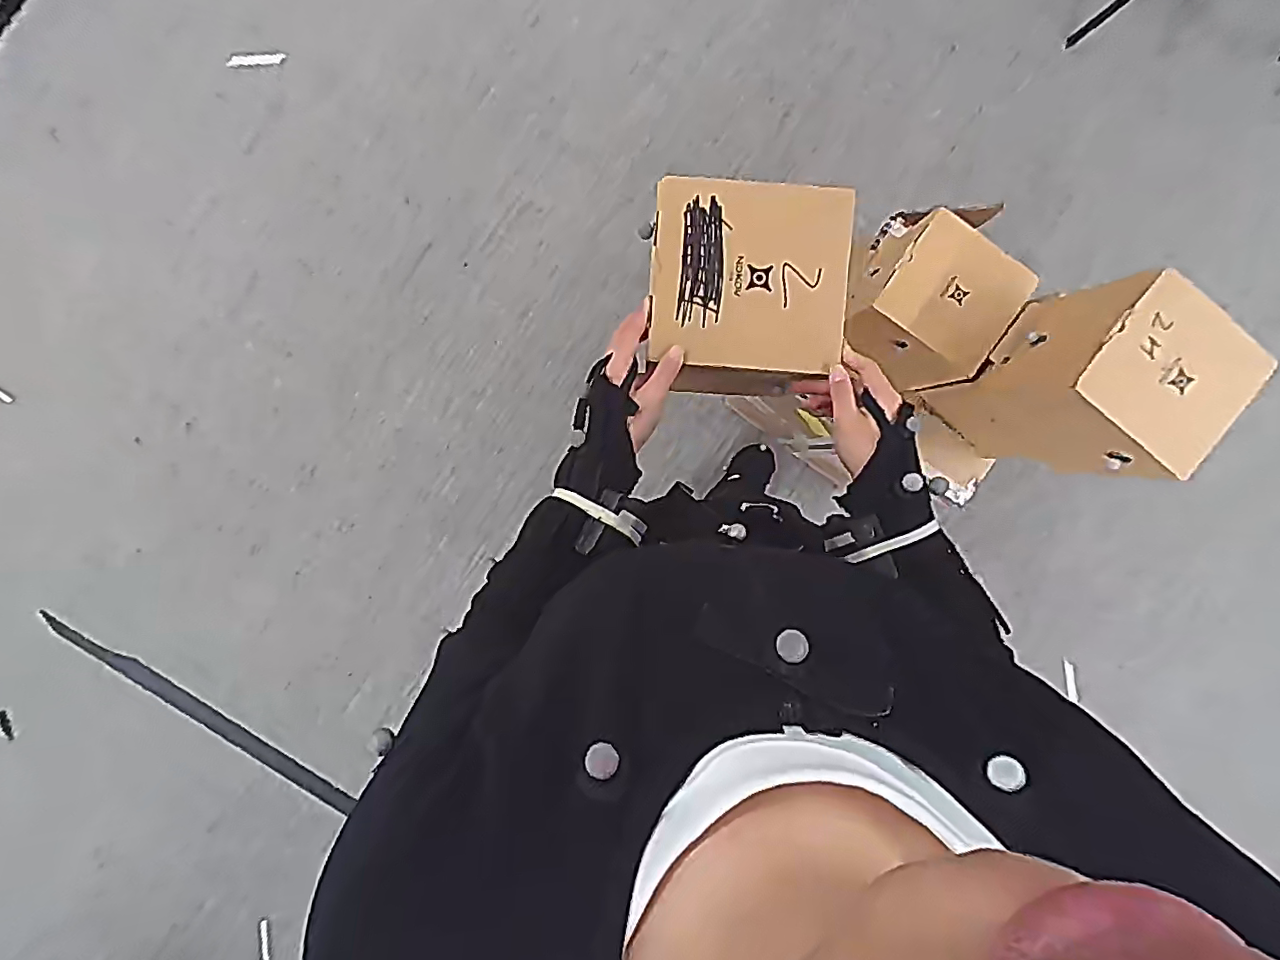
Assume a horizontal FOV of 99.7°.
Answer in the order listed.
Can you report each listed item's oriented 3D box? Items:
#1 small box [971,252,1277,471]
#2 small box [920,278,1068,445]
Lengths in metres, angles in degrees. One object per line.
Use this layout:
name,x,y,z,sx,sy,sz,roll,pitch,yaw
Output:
small box,0.558,-0.132,0.650,0.179,0.176,0.168,36,92,-4
small box,0.570,-0.163,0.814,0.179,0.176,0.168,39,93,-5
